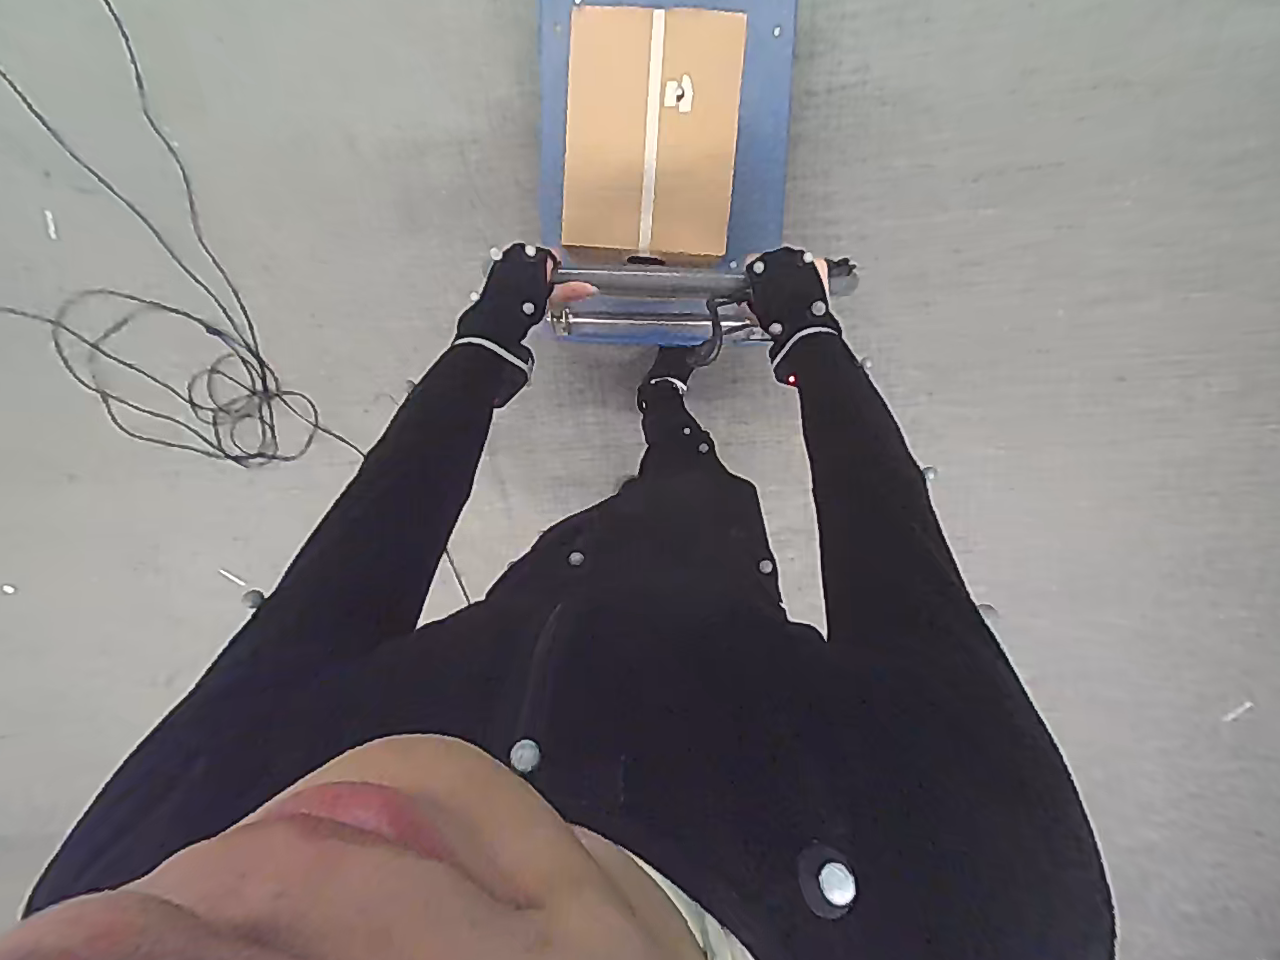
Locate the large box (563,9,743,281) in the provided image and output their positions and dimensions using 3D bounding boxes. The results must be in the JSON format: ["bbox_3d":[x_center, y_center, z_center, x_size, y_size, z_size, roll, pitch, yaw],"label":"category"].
[{"bbox_3d":[0.024,-0.658,1.137,0.320,0.320,0.408,5,100,0],"label":"large box"}]
